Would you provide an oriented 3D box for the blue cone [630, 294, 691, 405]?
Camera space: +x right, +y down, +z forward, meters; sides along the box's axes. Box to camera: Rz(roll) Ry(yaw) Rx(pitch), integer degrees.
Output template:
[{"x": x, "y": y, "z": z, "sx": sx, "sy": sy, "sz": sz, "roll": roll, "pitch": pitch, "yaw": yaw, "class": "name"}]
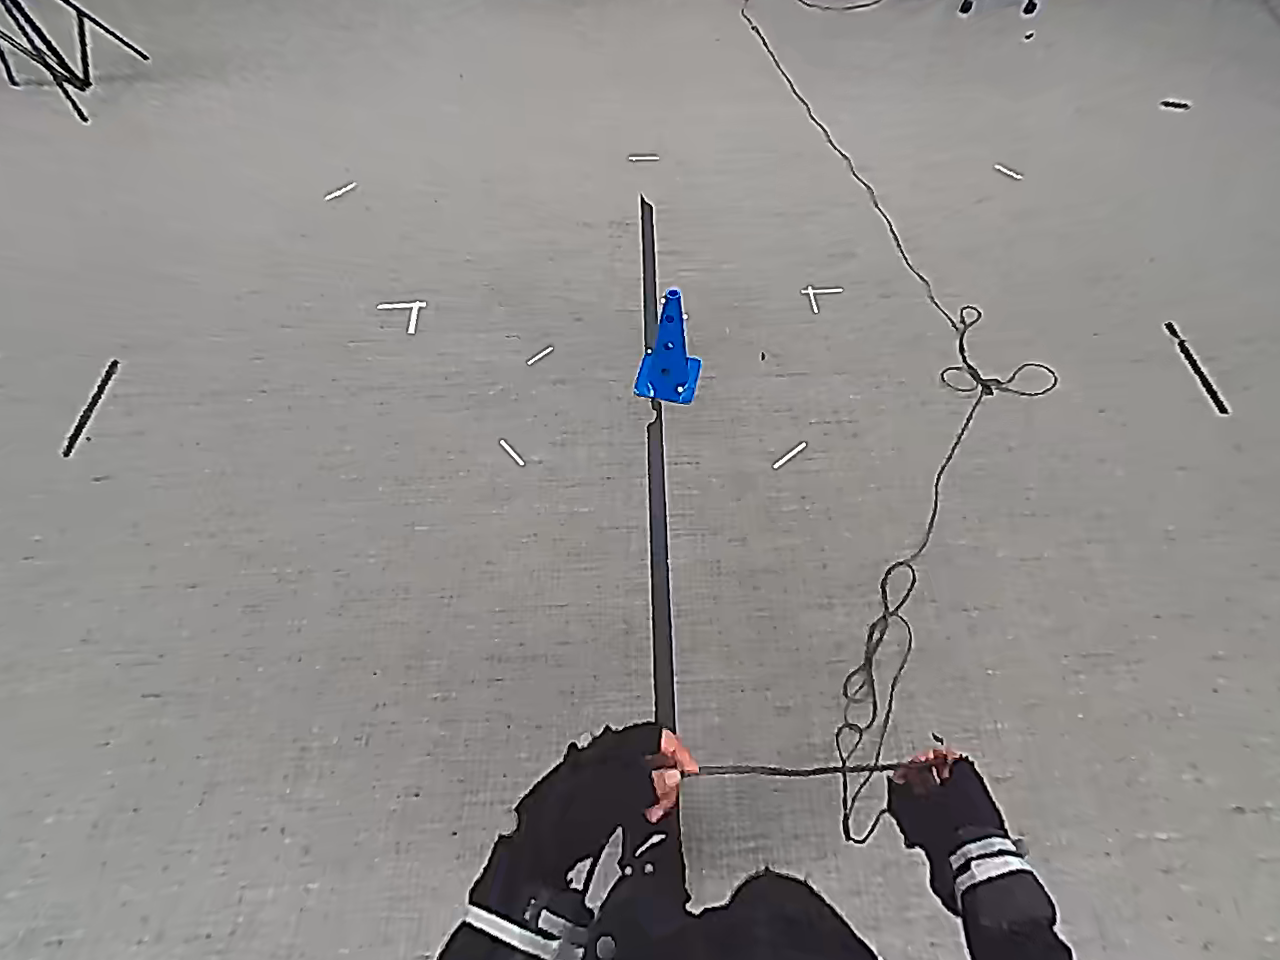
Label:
[{"x": 0.069, "y": -0.418, "z": 1.682, "sx": 0.192, "sy": 0.380, "sz": 0.193, "roll": 12, "pitch": 61, "yaw": 8, "class": "blue cone"}]
